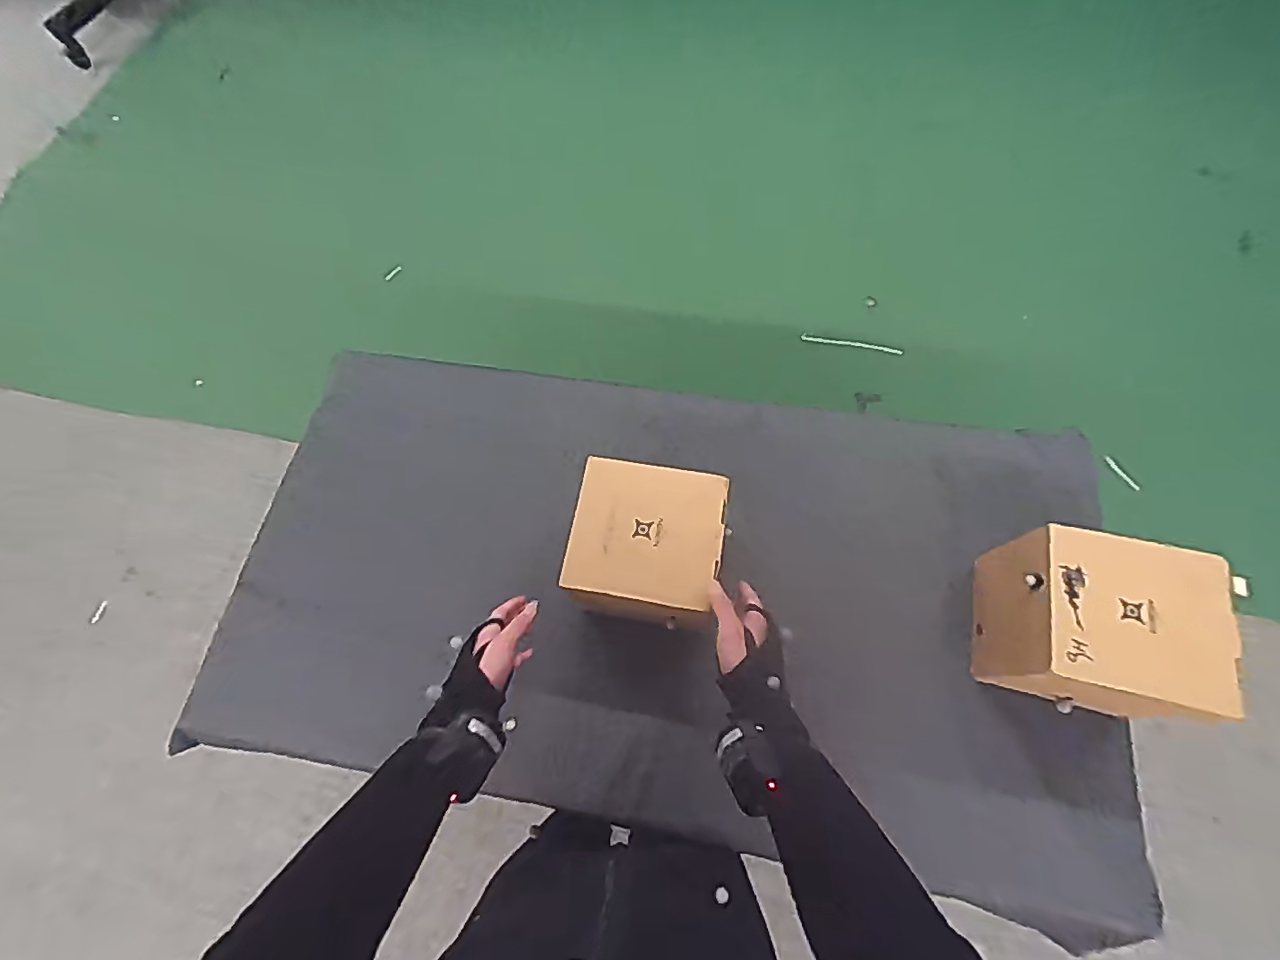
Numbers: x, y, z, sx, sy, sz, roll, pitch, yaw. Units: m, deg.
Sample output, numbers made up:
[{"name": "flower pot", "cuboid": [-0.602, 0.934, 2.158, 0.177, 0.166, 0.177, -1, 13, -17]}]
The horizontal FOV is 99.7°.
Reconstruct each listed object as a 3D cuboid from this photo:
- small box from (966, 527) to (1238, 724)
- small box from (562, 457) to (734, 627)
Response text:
[{"name": "small box", "cuboid": [0.524, 0.172, 0.638, 0.179, 0.176, 0.168, 13, 71, 7]}, {"name": "small box", "cuboid": [0.016, 0.088, 0.693, 0.179, 0.176, 0.168, 8, 69, 7]}]
